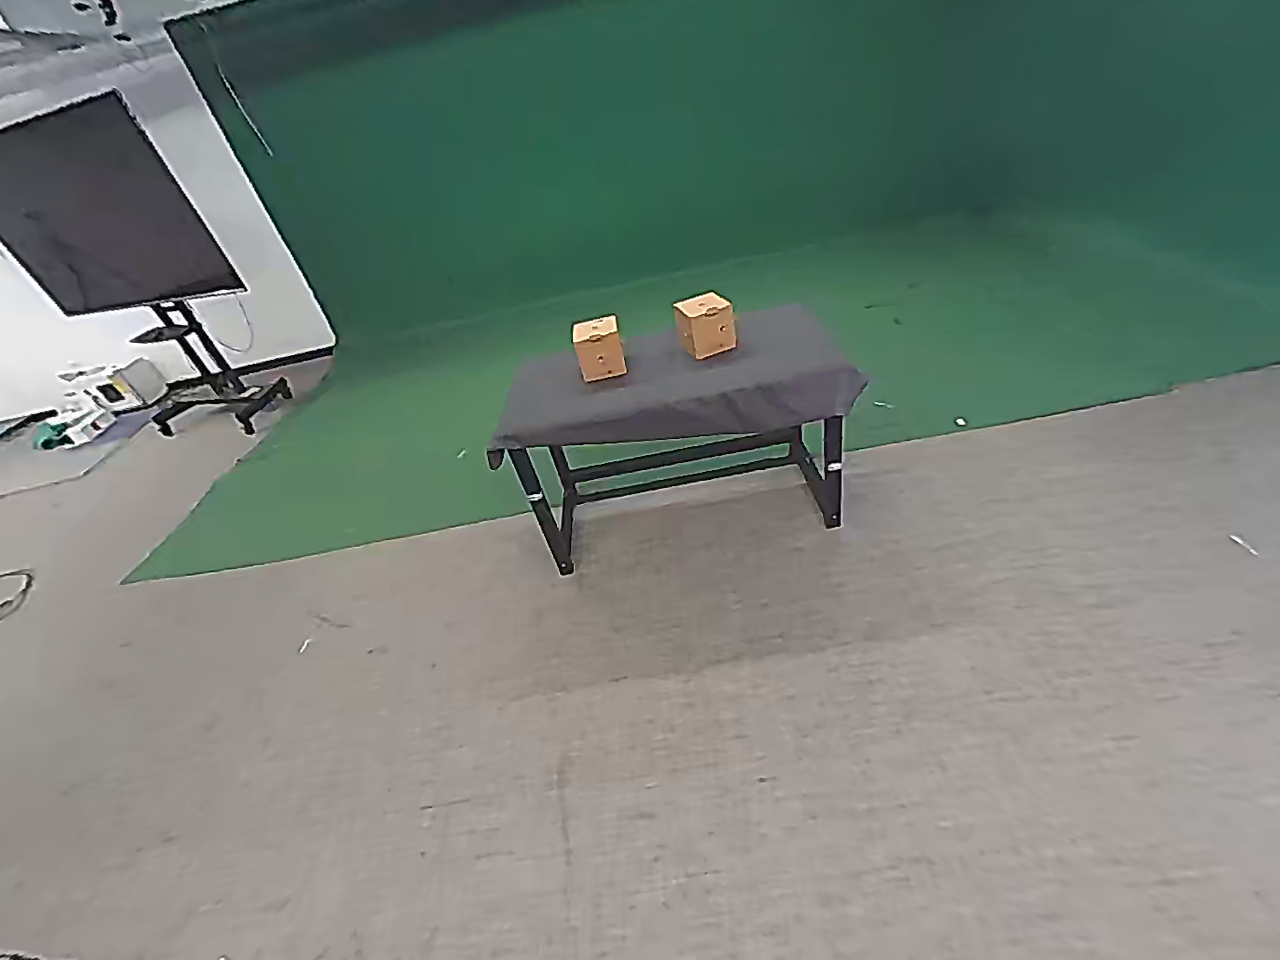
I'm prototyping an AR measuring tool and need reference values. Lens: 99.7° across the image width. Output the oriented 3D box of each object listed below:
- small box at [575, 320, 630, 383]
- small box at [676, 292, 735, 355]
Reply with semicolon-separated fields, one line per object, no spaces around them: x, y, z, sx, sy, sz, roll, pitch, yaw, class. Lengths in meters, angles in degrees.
-0.142;-0.485;2.064;0.168;0.176;0.179;-15;36;1;small box
0.248;-0.583;2.028;0.168;0.176;0.179;-17;36;-8;small box
